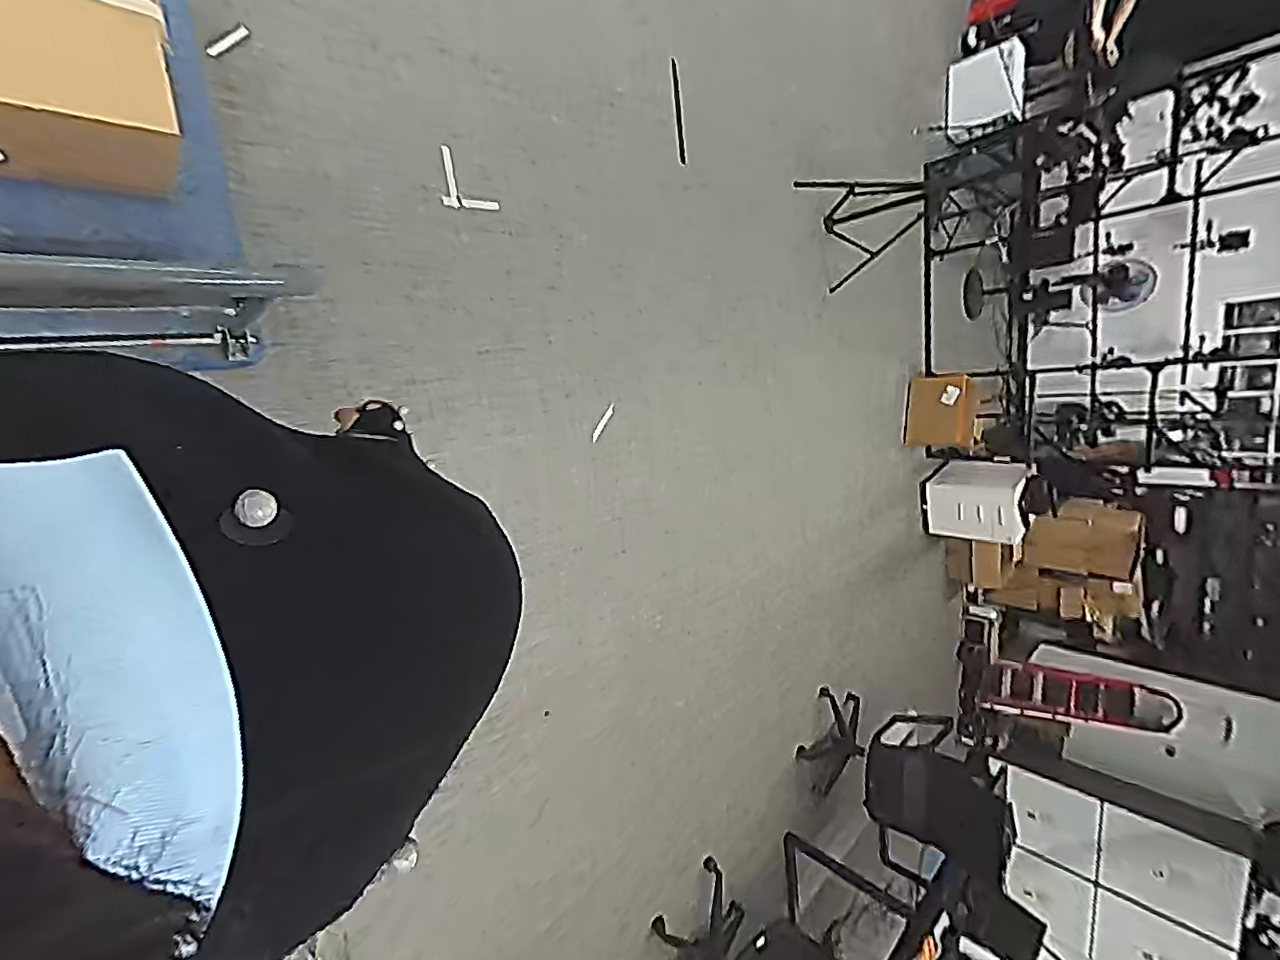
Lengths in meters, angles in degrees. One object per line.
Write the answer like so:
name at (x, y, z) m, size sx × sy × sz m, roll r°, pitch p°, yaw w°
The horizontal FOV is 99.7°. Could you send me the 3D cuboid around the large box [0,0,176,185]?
large box at (-0.913, -0.627, 0.717) m, size 0.408 × 0.320 × 0.320 m, roll -13°, pitch 103°, yaw -40°
